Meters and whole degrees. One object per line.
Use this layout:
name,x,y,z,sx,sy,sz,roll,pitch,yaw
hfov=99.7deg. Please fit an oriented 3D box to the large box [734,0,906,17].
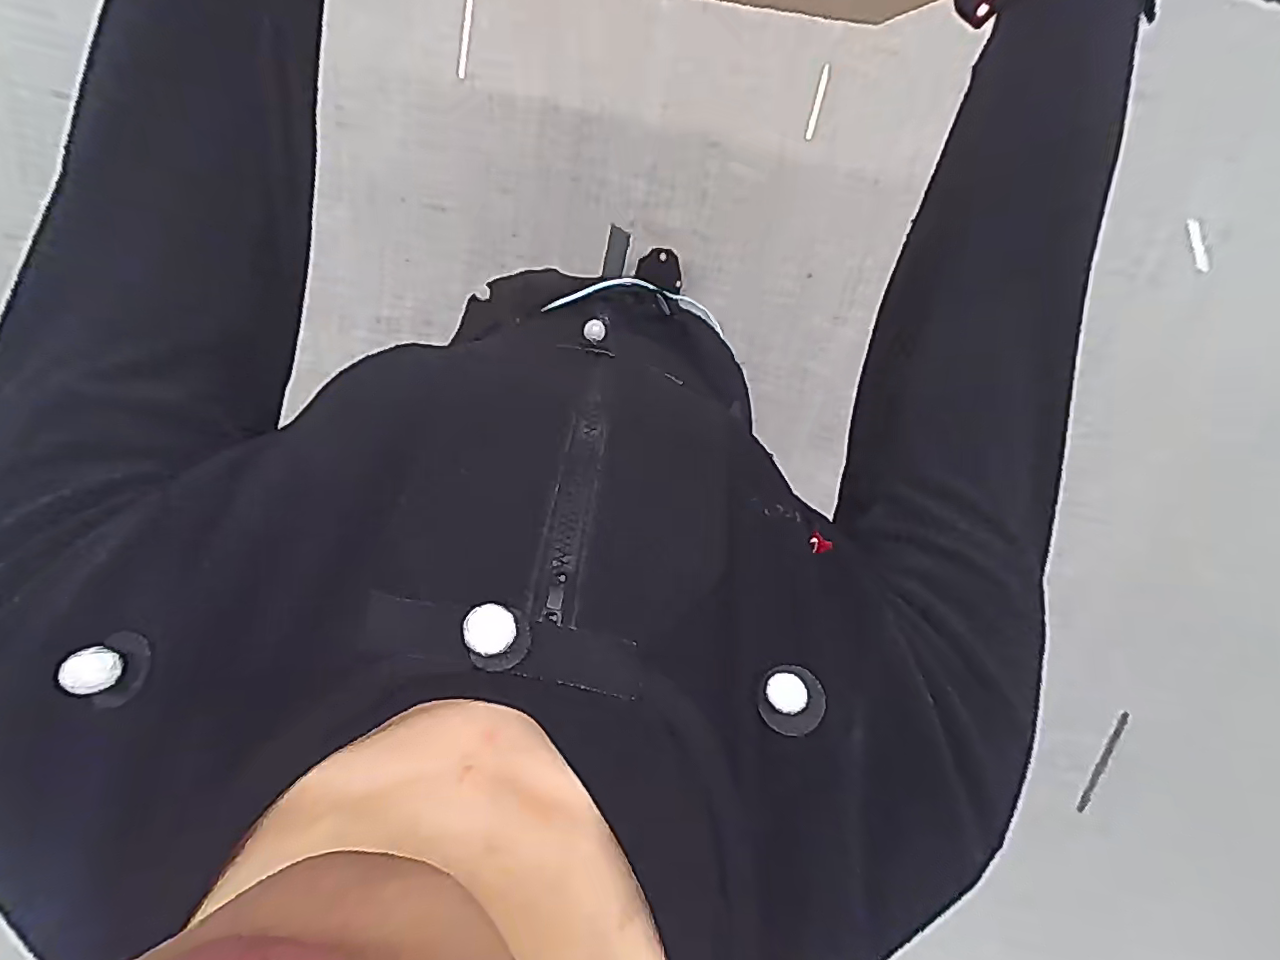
large box,0.069,-0.573,0.388,0.408,0.320,0.320,8,127,-1
